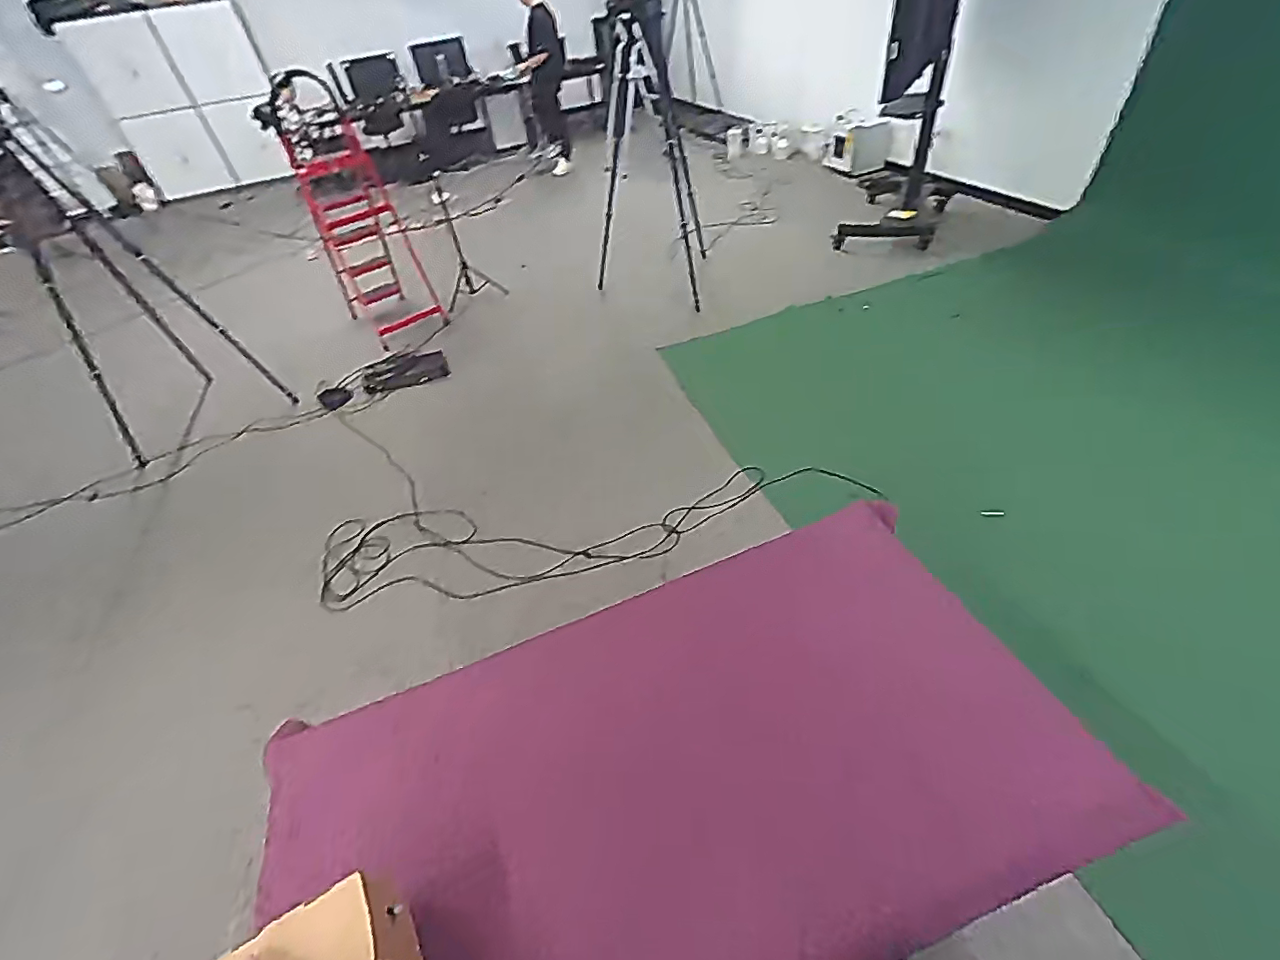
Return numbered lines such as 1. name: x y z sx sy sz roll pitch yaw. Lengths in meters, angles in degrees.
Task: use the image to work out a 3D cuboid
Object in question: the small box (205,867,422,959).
1. small box: -0.353 0.588 0.611 0.168 0.176 0.179 -24 53 -20
